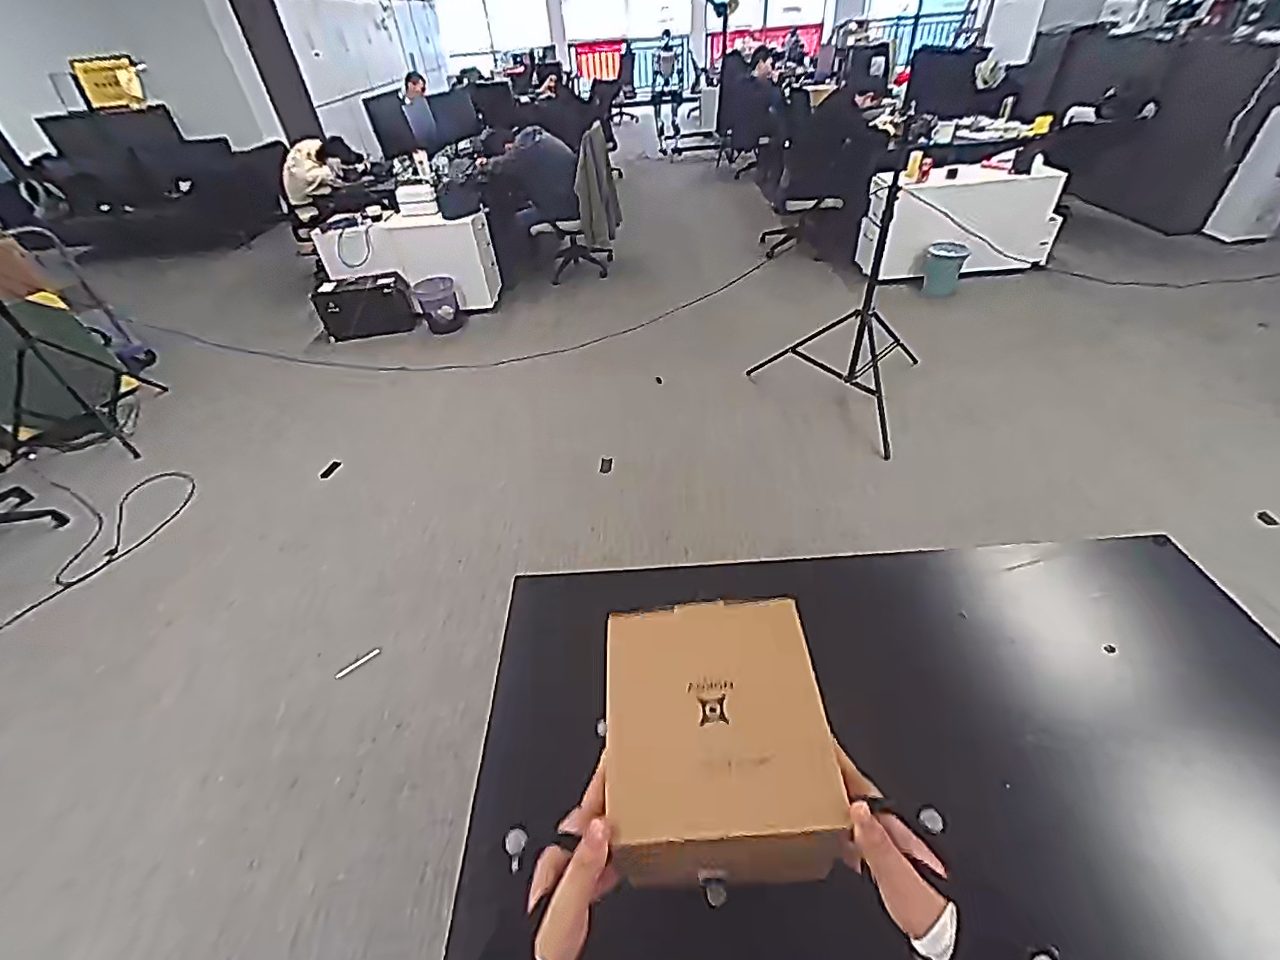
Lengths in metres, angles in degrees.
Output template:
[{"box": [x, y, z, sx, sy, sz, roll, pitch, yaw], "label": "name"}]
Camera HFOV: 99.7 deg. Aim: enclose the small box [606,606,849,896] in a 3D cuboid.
[{"box": [0.064, 0.236, 0.475, 0.168, 0.176, 0.179, -7, 43, 3], "label": "small box"}]
